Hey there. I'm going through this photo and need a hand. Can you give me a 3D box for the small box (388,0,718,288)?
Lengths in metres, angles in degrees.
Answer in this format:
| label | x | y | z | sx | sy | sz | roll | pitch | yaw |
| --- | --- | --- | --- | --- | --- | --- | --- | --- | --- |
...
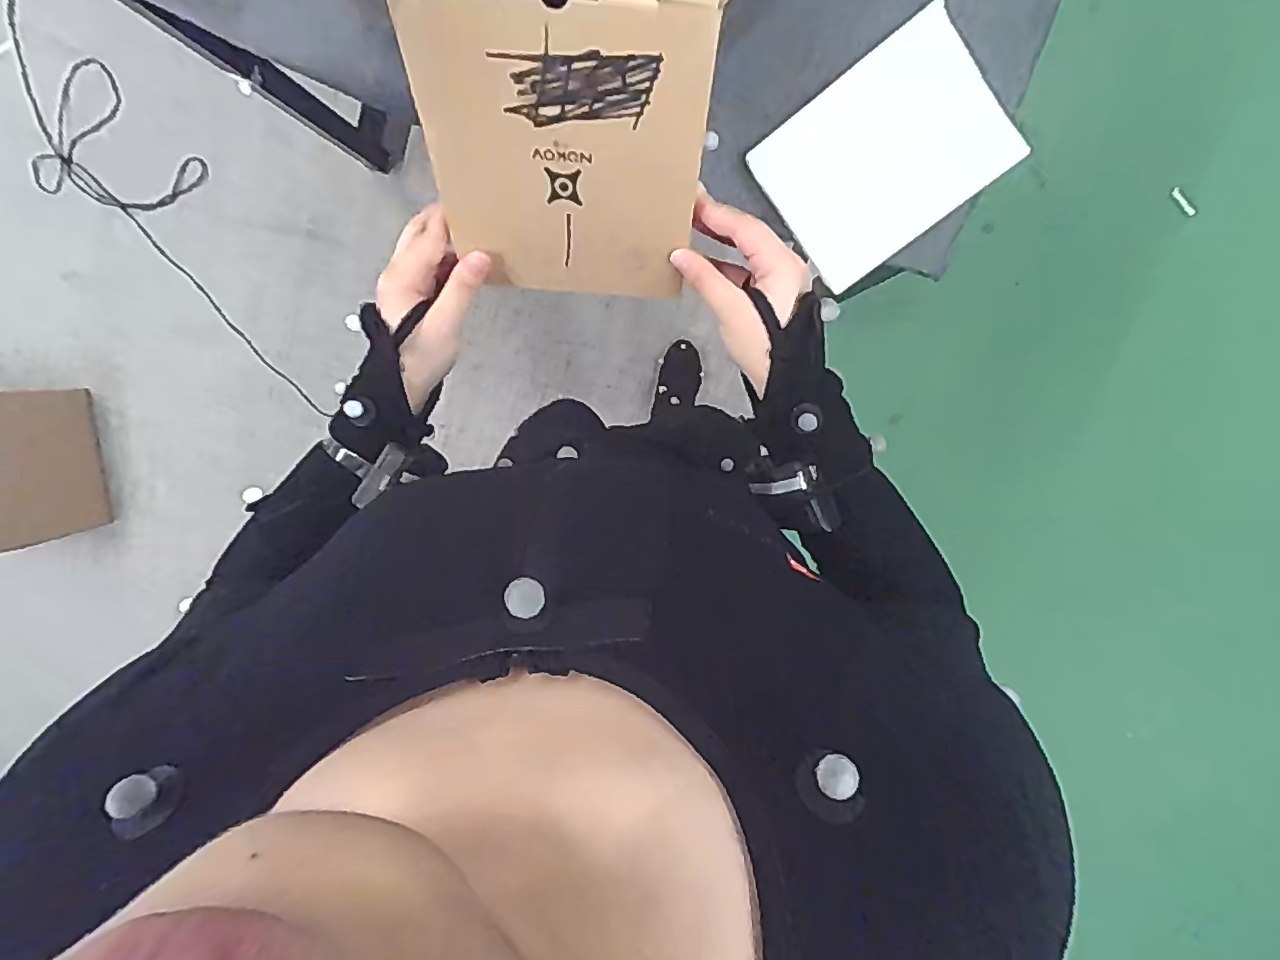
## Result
| label | x | y | z | sx | sy | sz | roll | pitch | yaw |
| --- | --- | --- | --- | --- | --- | --- | --- | --- | --- |
| small box | -0.044 | -0.262 | 0.370 | 0.168 | 0.179 | 0.176 | 4 | 58 | 0 |
